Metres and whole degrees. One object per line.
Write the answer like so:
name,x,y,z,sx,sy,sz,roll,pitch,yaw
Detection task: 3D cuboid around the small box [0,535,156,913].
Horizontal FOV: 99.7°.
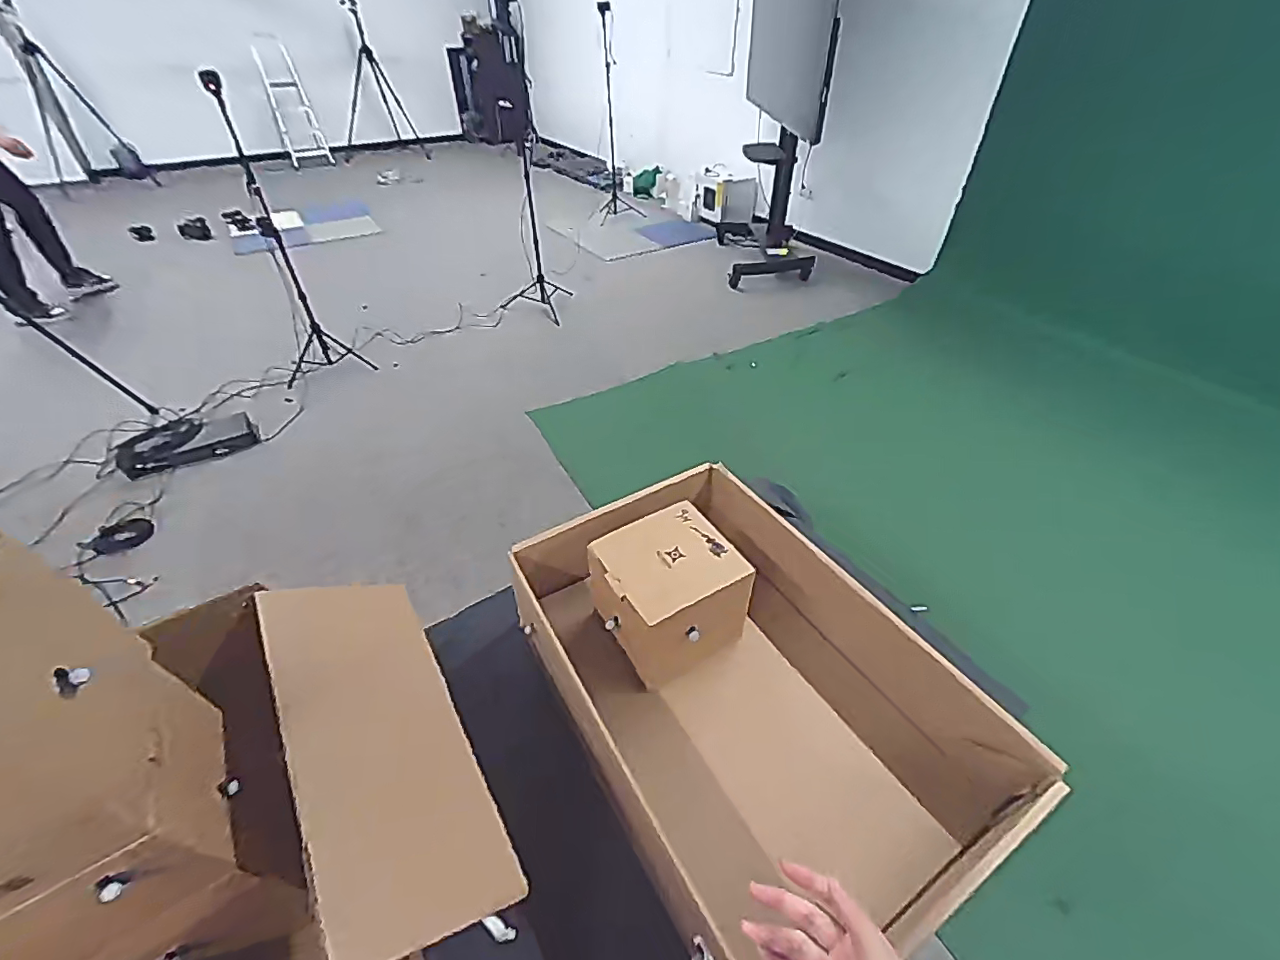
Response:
small box,-0.462,0.174,0.351,0.168,0.176,0.179,-25,50,-22
